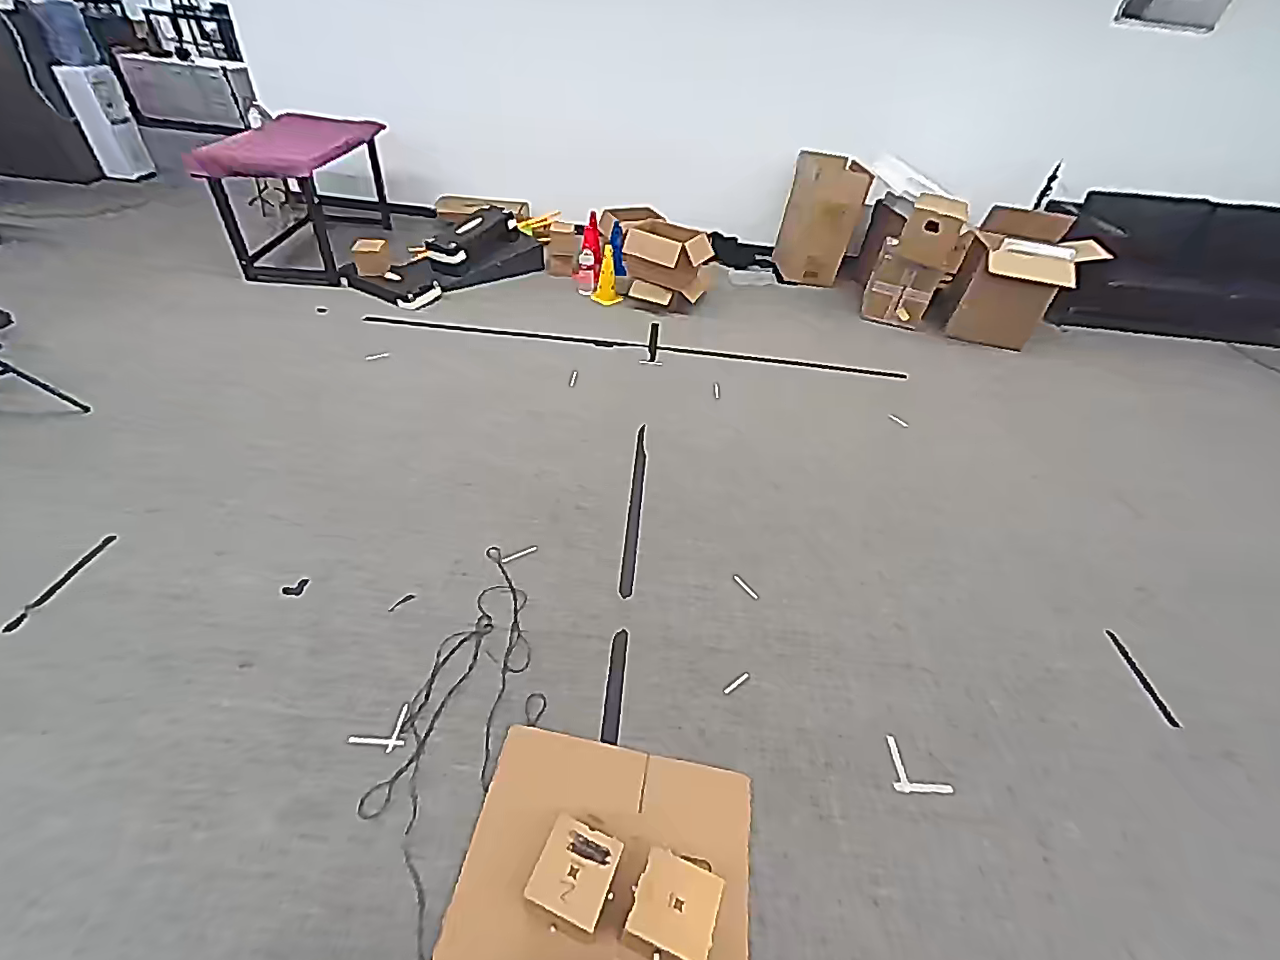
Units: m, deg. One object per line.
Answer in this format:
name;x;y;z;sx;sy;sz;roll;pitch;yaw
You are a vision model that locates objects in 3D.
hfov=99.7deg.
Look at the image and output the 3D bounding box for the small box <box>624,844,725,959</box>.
small box;0.075;0.973;1.226;0.179;0.176;0.168;18;43;13
